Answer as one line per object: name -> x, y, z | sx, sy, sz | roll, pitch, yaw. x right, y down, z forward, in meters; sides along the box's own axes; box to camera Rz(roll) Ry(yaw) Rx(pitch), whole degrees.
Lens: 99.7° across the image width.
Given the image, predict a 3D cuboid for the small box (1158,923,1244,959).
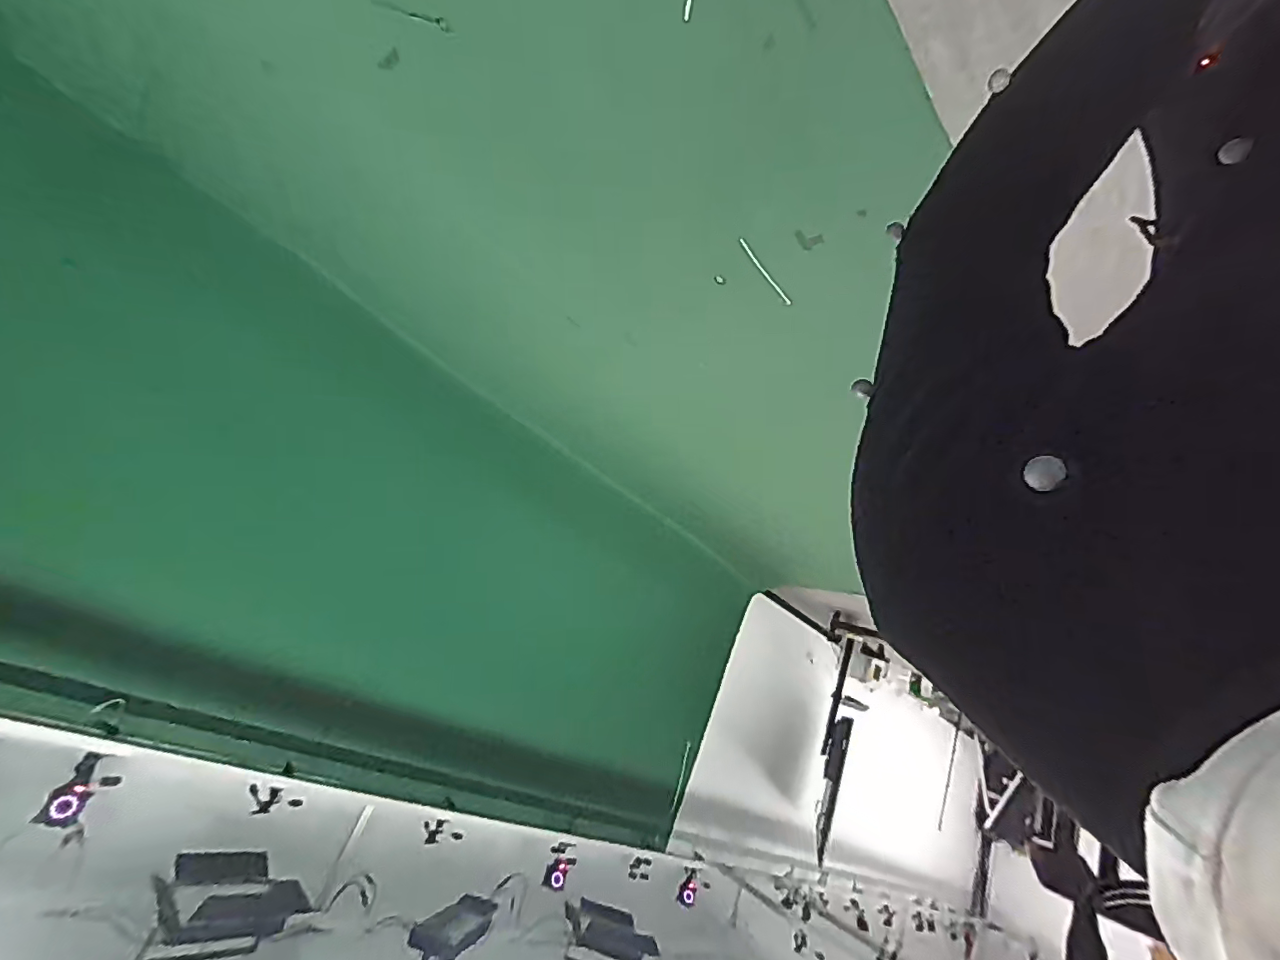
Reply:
small box -> 1.424, 1.258, 1.354 | 0.168, 0.176, 0.179 | 36, 157, -34
